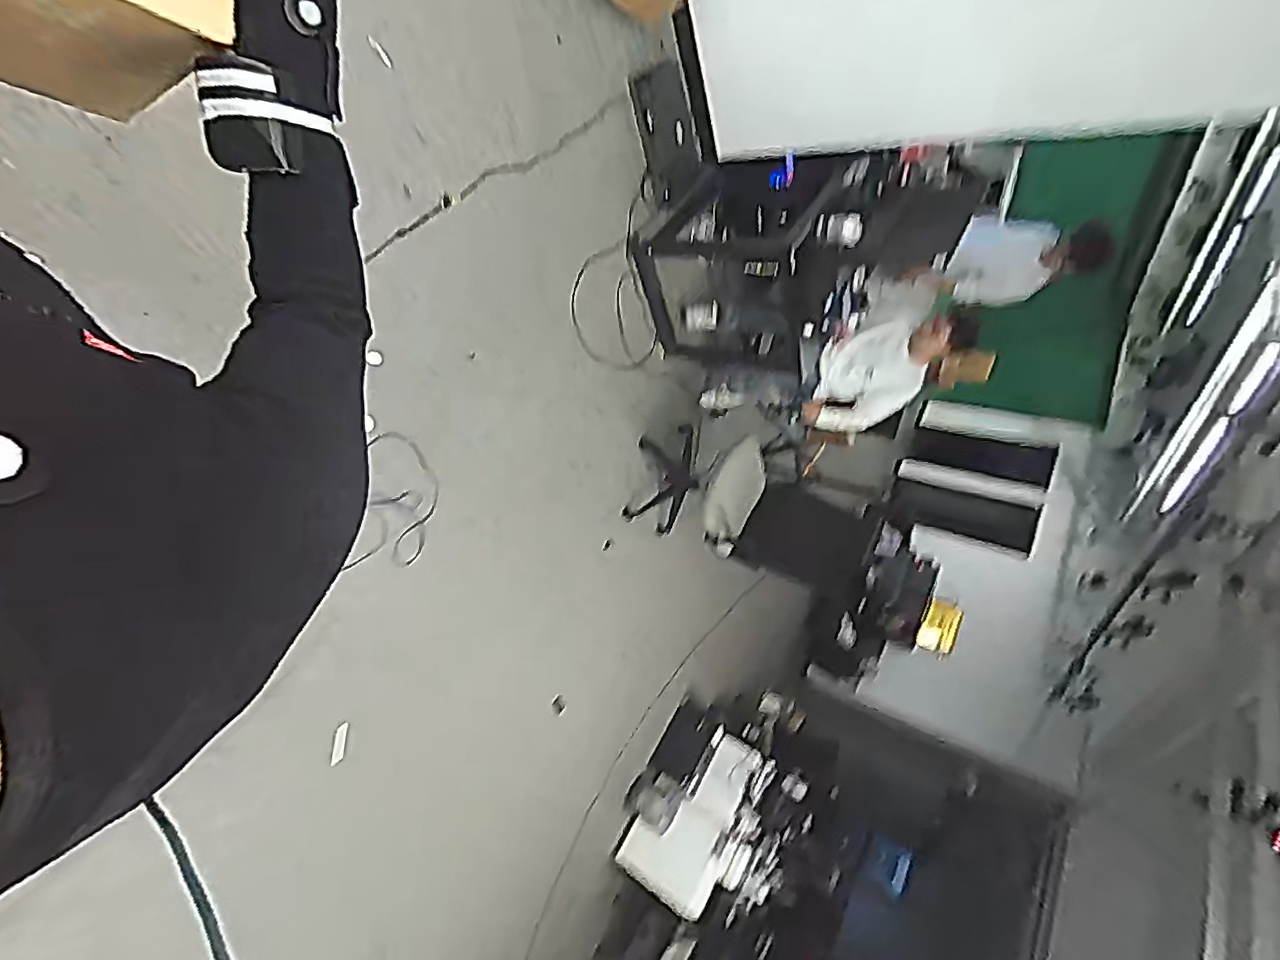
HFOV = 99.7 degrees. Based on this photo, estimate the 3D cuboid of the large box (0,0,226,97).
[{"bbox_3d":[-0.492,-0.461,0.252,0.408,0.320,0.320,-8,111,-53],"label":"large box"}]
